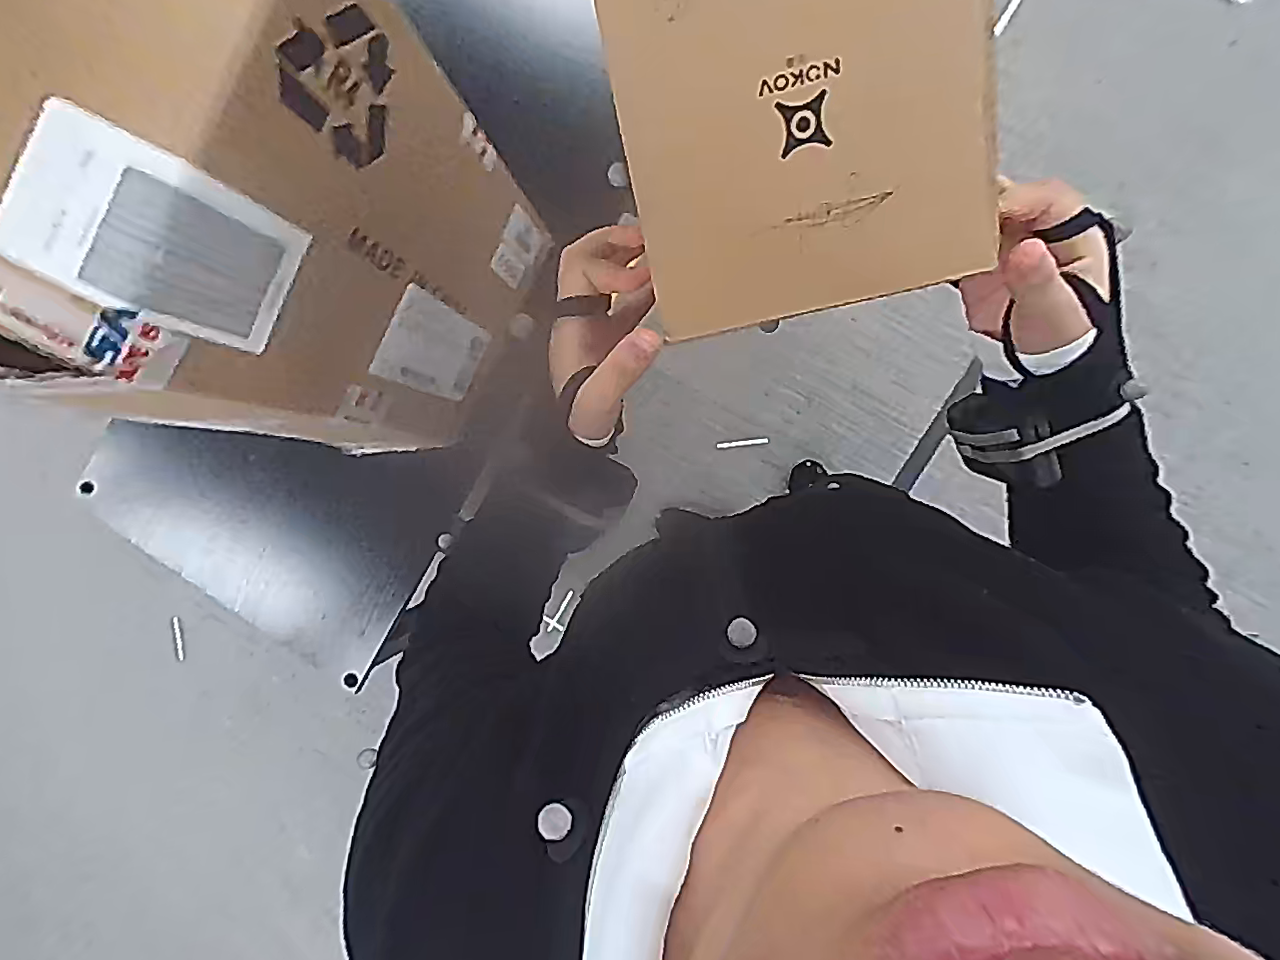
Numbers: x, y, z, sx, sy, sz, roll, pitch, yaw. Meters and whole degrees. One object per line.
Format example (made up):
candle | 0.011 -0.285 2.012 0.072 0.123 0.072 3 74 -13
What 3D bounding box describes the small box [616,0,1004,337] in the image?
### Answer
small box | 0.086 -0.195 0.326 0.168 0.176 0.179 -10 109 9
